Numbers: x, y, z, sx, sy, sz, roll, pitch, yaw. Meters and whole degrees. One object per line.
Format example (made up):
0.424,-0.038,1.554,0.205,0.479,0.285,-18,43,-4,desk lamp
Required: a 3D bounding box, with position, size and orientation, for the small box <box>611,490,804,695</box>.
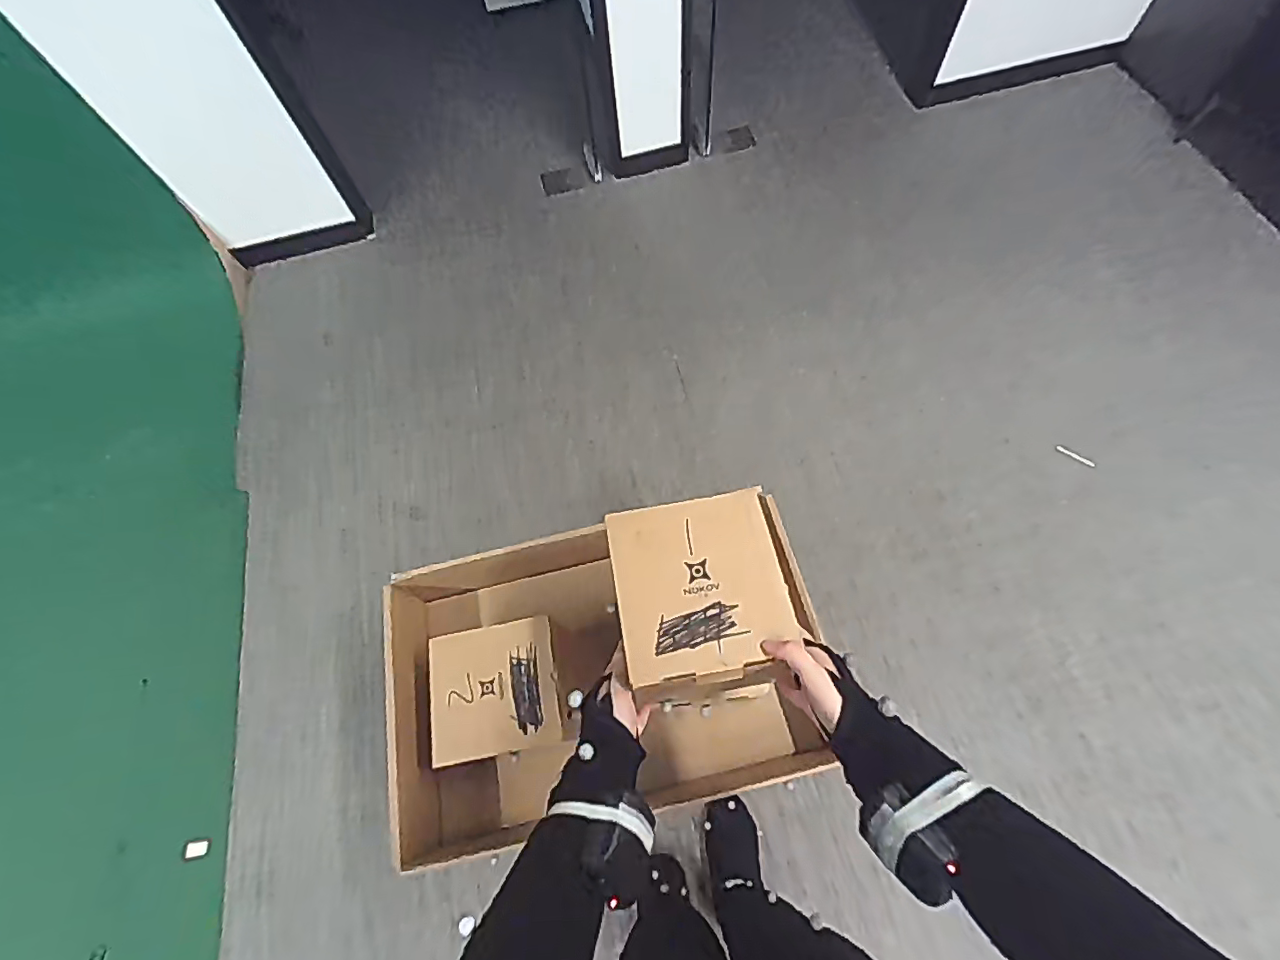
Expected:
0.064,0.135,0.606,0.168,0.176,0.179,-9,61,-3,small box
